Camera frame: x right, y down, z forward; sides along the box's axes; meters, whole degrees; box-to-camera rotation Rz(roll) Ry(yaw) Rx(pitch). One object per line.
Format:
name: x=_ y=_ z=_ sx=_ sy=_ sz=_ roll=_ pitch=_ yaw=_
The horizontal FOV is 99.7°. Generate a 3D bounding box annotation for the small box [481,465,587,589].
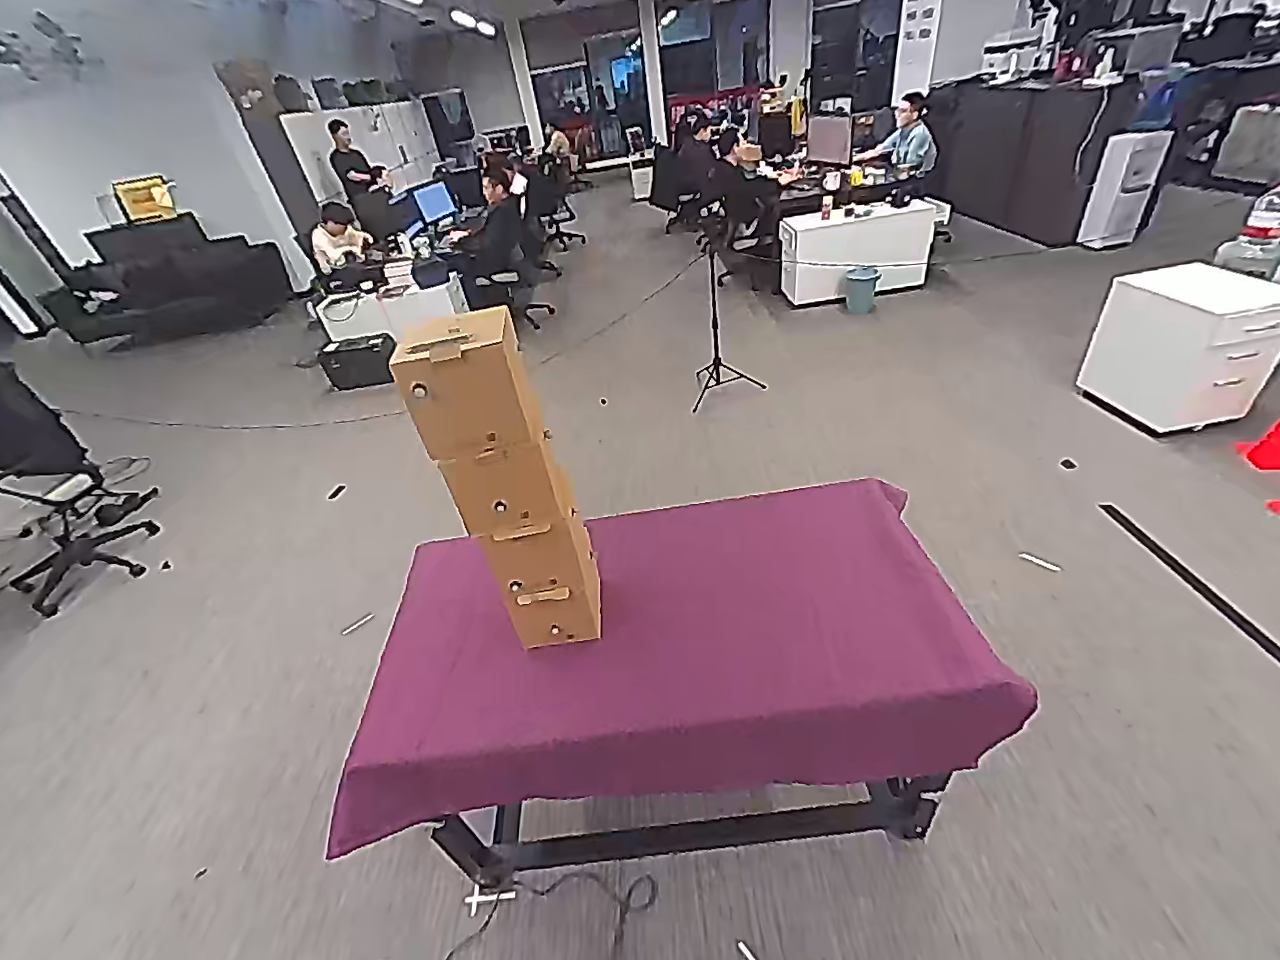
small box: x=-0.200 y=0.097 z=1.069 sx=0.168 sy=0.176 sz=0.179 roll=-10 pitch=36 yaw=-1

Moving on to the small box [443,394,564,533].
small box: x=-0.238 y=-0.031 z=0.976 sx=0.168 sy=0.176 sz=0.179 roll=-13 pitch=37 yaw=-4

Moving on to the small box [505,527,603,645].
small box: x=-0.176 y=0.228 z=1.166 sx=0.168 sy=0.176 sz=0.179 roll=-8 pitch=37 yaw=3
